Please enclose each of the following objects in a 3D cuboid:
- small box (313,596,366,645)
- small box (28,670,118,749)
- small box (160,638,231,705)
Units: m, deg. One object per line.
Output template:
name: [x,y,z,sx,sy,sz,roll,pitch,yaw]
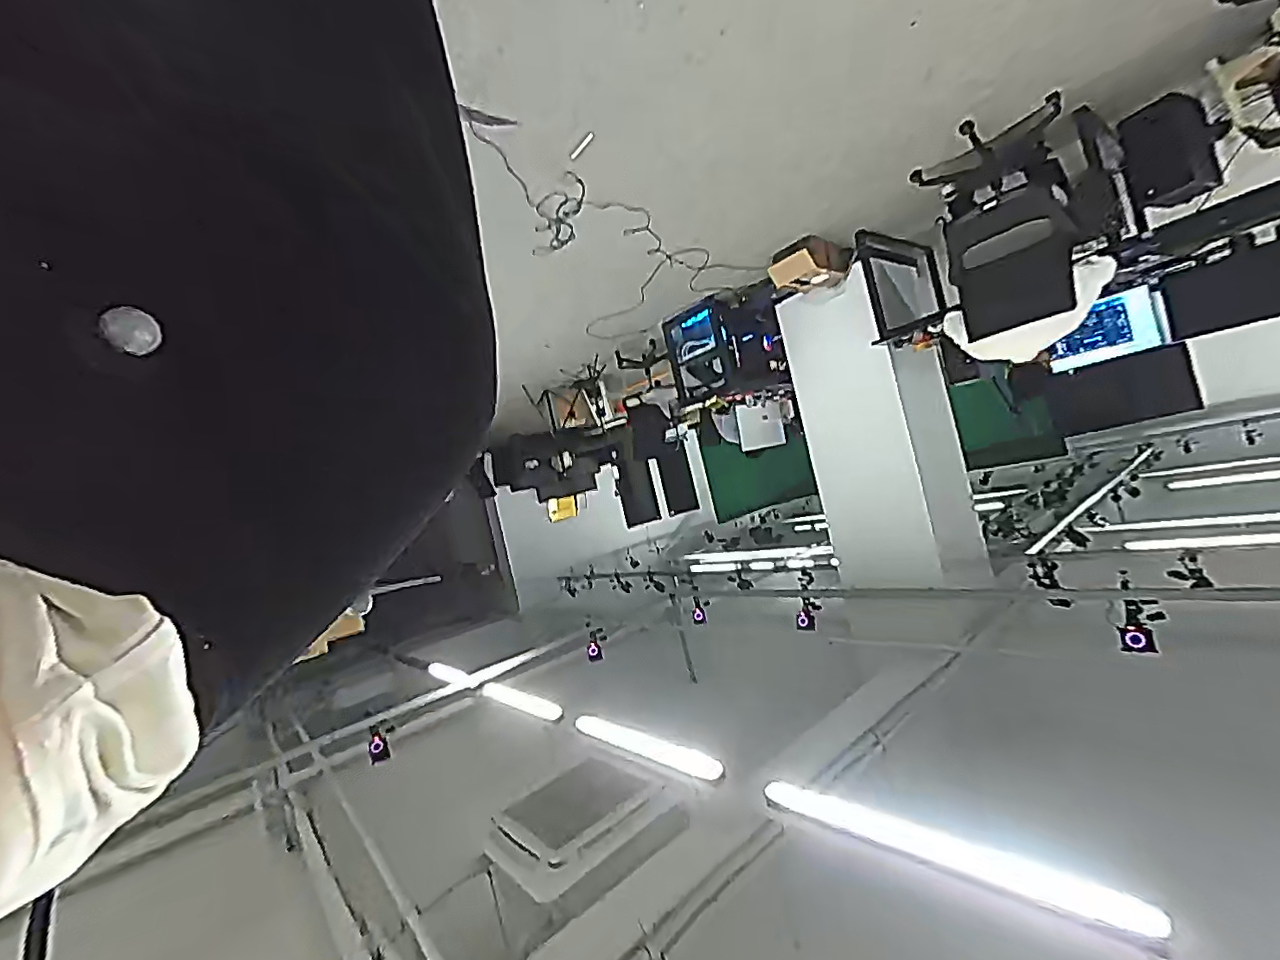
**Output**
small box: [-1.333,0.616,2.390,0.168,0.176,0.179,-13,177,-38]
small box: [-1.788,0.716,1.713,0.168,0.176,0.179,-14,180,-41]
small box: [-1.563,0.665,1.904,0.168,0.176,0.179,-13,180,-39]
